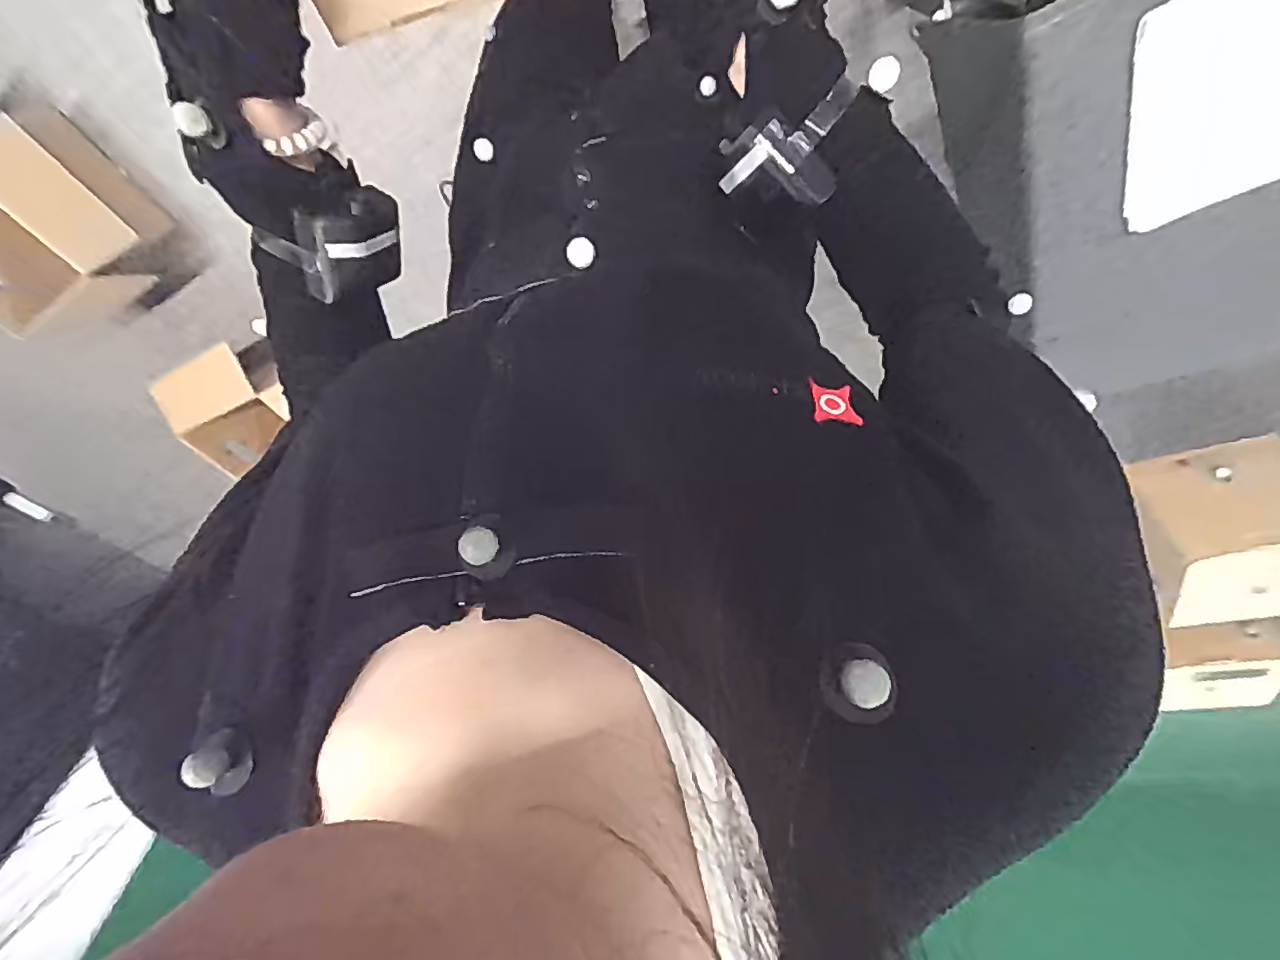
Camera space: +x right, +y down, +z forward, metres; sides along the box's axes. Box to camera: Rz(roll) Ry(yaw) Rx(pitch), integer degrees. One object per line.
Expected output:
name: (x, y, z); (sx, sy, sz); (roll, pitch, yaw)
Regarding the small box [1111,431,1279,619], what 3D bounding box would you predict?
small box: (0.781, 0.064, 0.735); (0.168, 0.176, 0.179); (-16, 132, 23)
